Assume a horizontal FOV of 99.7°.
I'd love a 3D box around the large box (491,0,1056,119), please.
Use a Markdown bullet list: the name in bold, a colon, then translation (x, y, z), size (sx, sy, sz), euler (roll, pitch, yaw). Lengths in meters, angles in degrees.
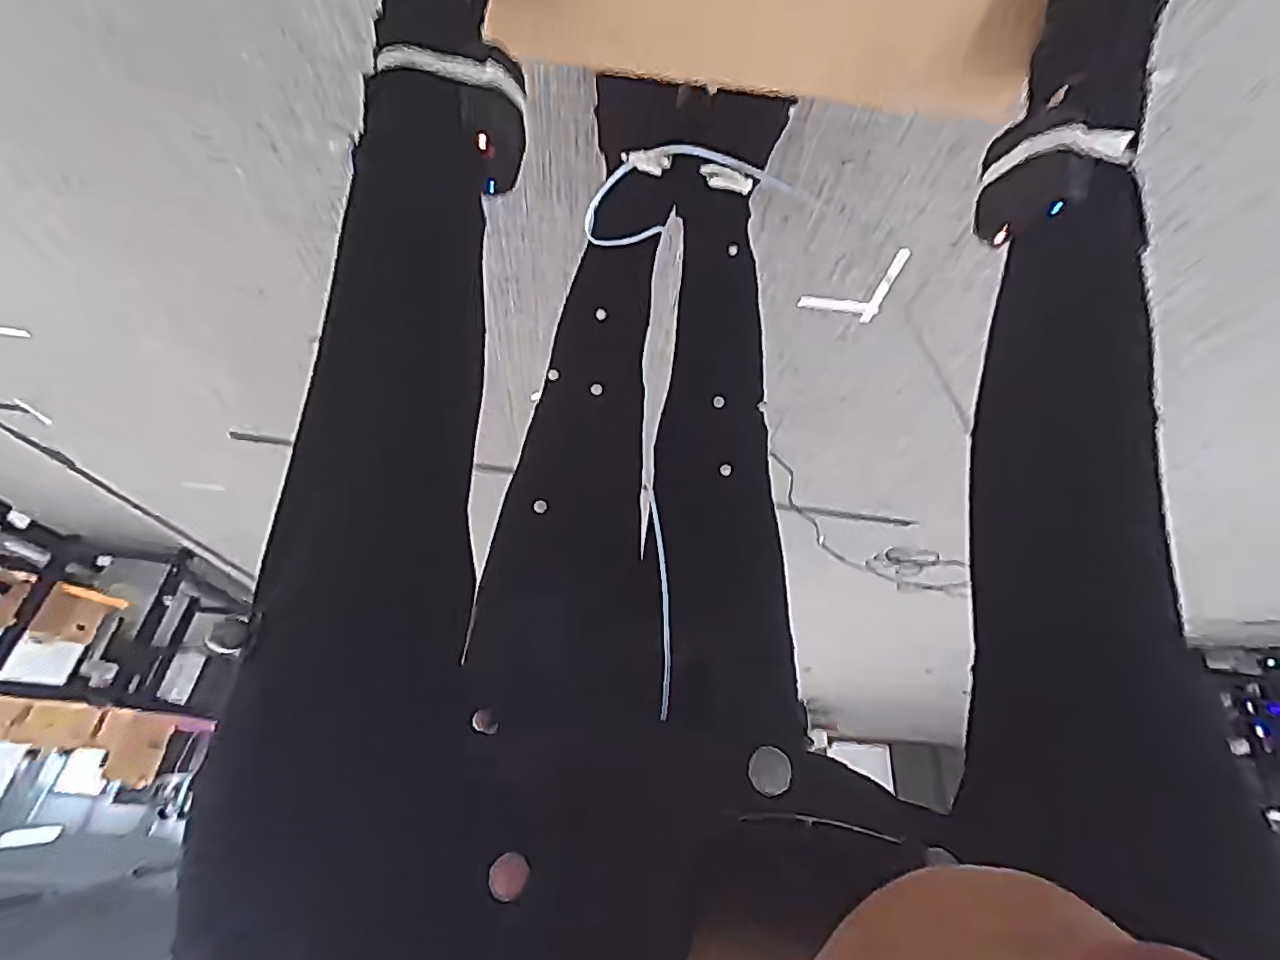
- **large box**: translation (0.104, -0.514, 0.395), size (0.408, 0.320, 0.320), euler (5, 144, -3)
